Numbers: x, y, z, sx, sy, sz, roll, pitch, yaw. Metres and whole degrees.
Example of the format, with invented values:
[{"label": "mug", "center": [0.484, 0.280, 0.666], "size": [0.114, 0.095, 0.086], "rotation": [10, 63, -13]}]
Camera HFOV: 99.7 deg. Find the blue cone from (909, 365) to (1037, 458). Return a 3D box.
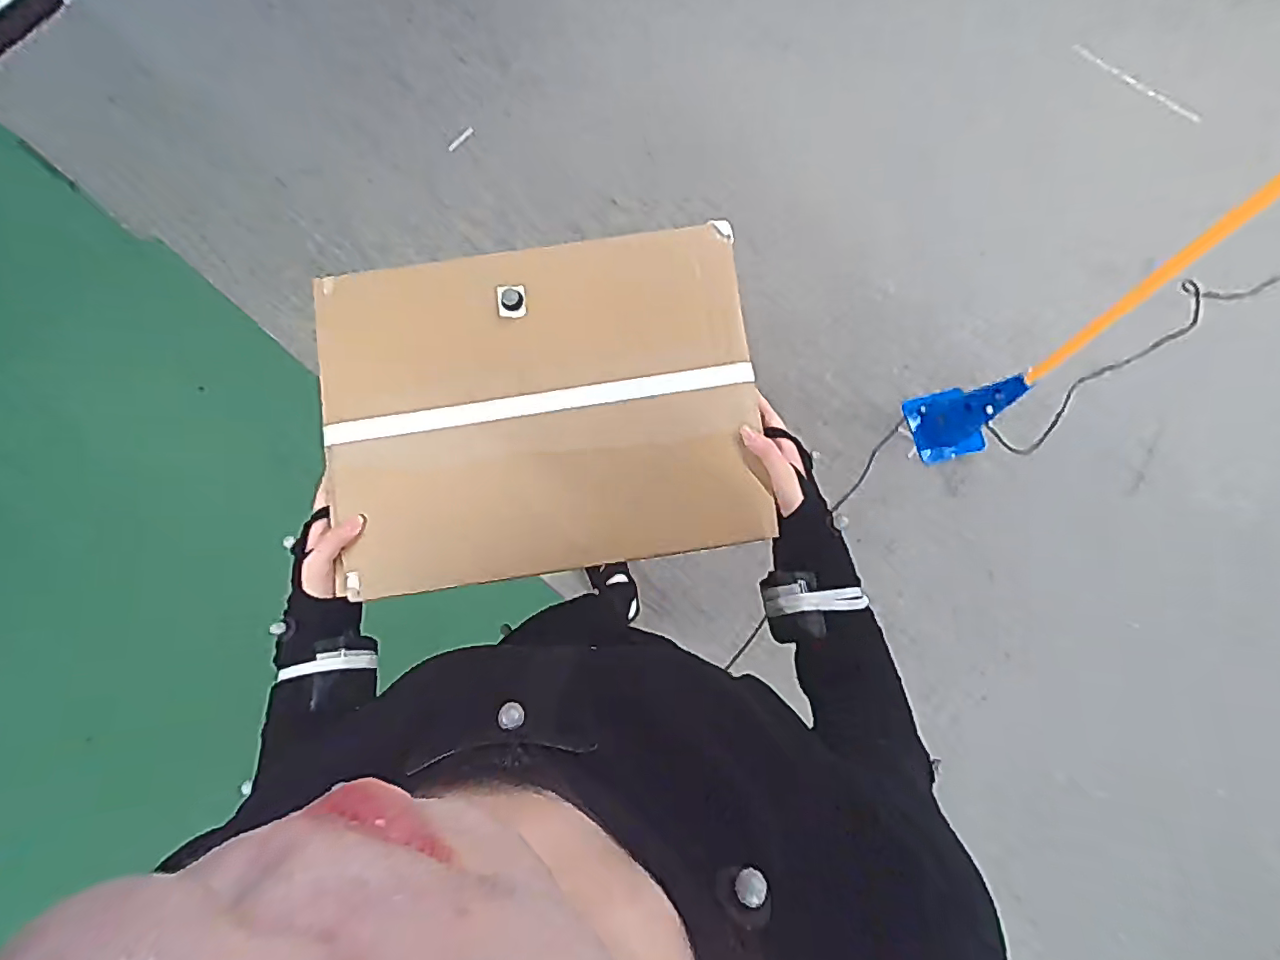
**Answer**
[{"label": "blue cone", "center": [0.897, -0.200, 1.412], "size": [0.193, 0.380, 0.192], "rotation": [-17, 79, -3]}]
